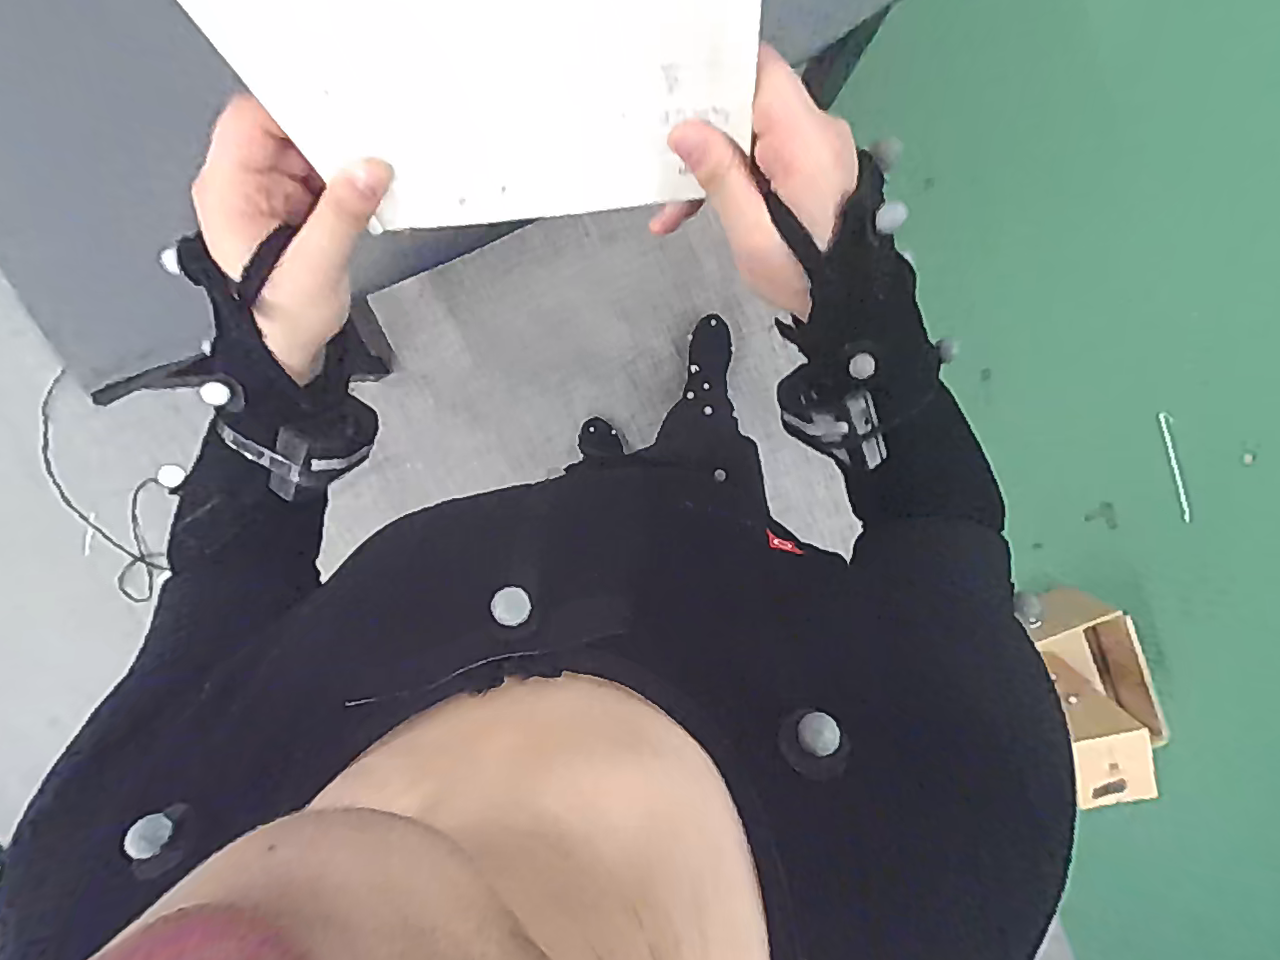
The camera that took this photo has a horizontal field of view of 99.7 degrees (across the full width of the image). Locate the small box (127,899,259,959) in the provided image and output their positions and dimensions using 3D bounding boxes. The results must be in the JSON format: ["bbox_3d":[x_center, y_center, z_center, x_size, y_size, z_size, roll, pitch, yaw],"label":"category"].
[{"bbox_3d":[-0.987,1.063,1.170,0.179,0.176,0.168,-21,100,8],"label":"small box"}]

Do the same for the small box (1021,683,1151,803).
[{"bbox_3d":[1.039,0.613,1.271,0.168,0.176,0.179,-14,100,6],"label":"small box"}]
